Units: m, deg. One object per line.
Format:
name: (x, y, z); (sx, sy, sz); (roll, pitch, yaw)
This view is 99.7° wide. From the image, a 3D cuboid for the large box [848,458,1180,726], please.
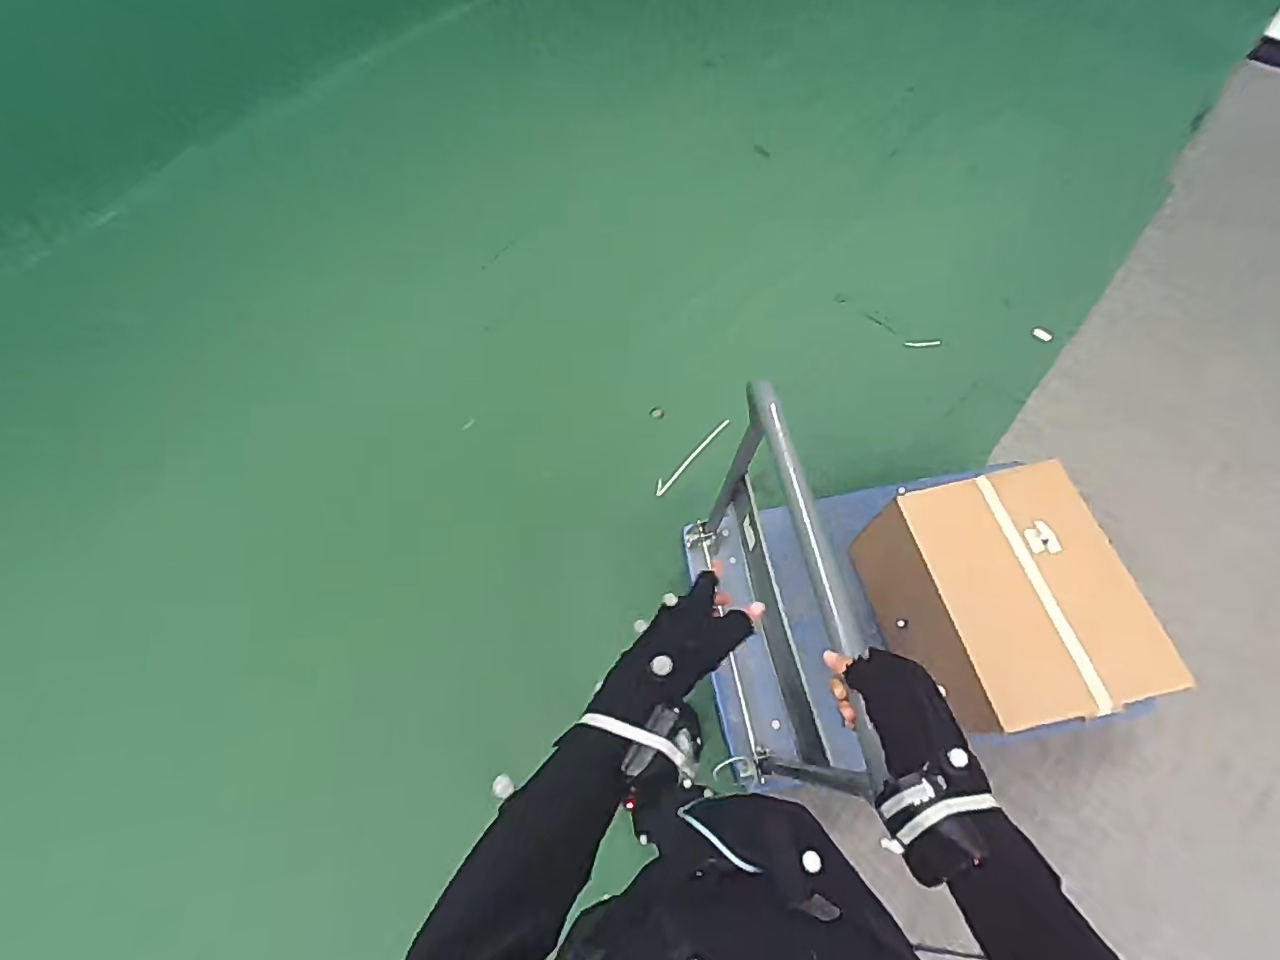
large box: (0.661, 0.228, 1.052); (0.320, 0.320, 0.408); (-12, 64, -3)
